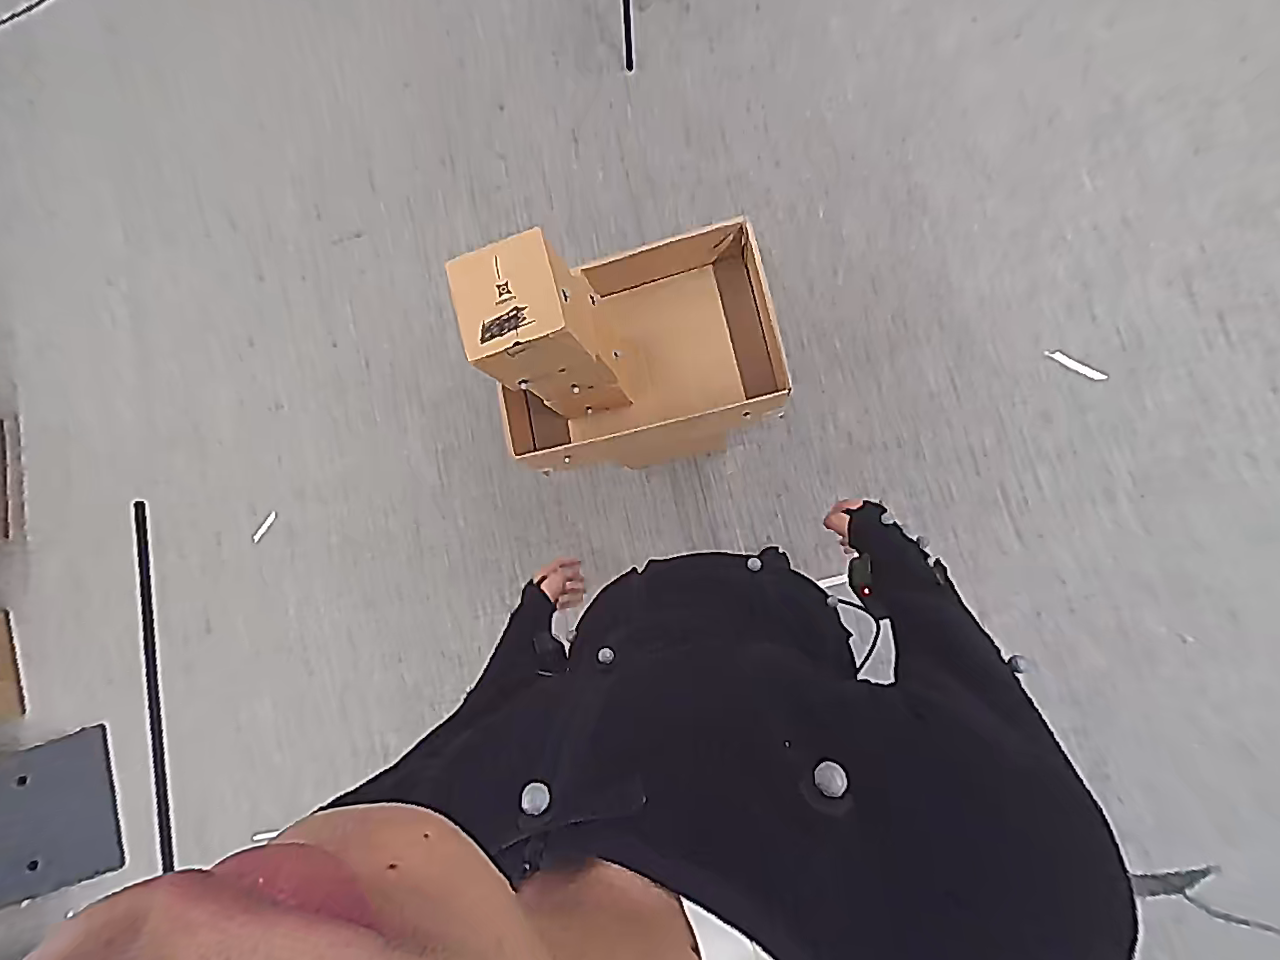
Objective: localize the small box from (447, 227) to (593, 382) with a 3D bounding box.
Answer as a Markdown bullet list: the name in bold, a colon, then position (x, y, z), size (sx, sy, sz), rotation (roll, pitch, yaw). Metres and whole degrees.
- **small box**: position (-0.191, -0.278, 0.908), size (0.168, 0.176, 0.179), rotation (-17, 81, 8)

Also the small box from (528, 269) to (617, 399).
- **small box**: position (-0.154, -0.280, 1.069), size (0.168, 0.176, 0.179), rotation (-14, 83, 9)

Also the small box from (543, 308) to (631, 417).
- **small box**: position (-0.128, -0.259, 1.231), size (0.168, 0.176, 0.179), rotation (-14, 82, 9)
